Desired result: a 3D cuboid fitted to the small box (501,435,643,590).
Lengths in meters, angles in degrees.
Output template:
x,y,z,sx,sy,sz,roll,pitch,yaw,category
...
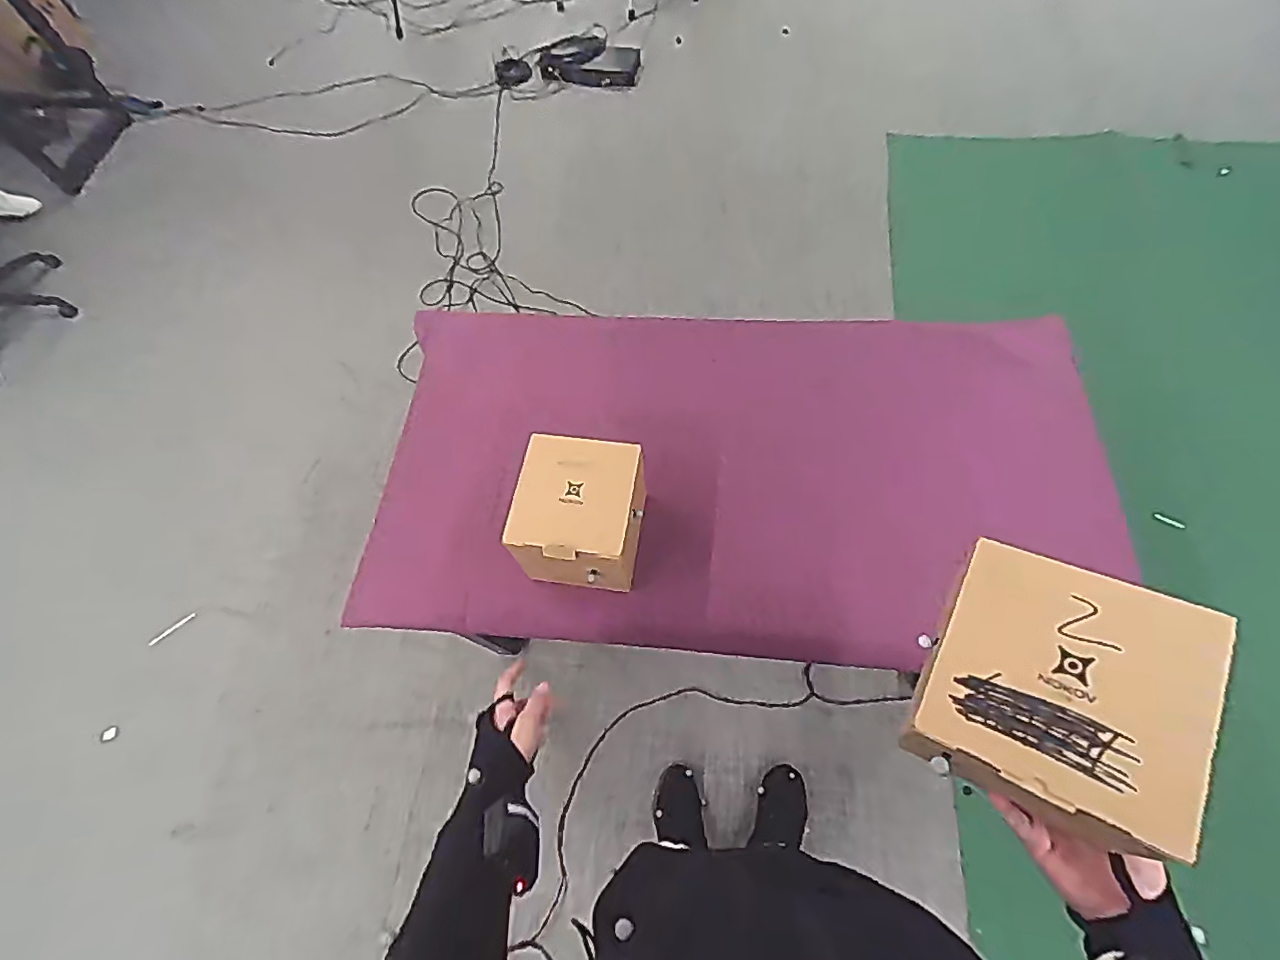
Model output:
x,y,z,sx,sy,sz,roll,pitch,yaw,category
-0.090,0.056,0.824,0.168,0.176,0.179,7,63,7,small box
